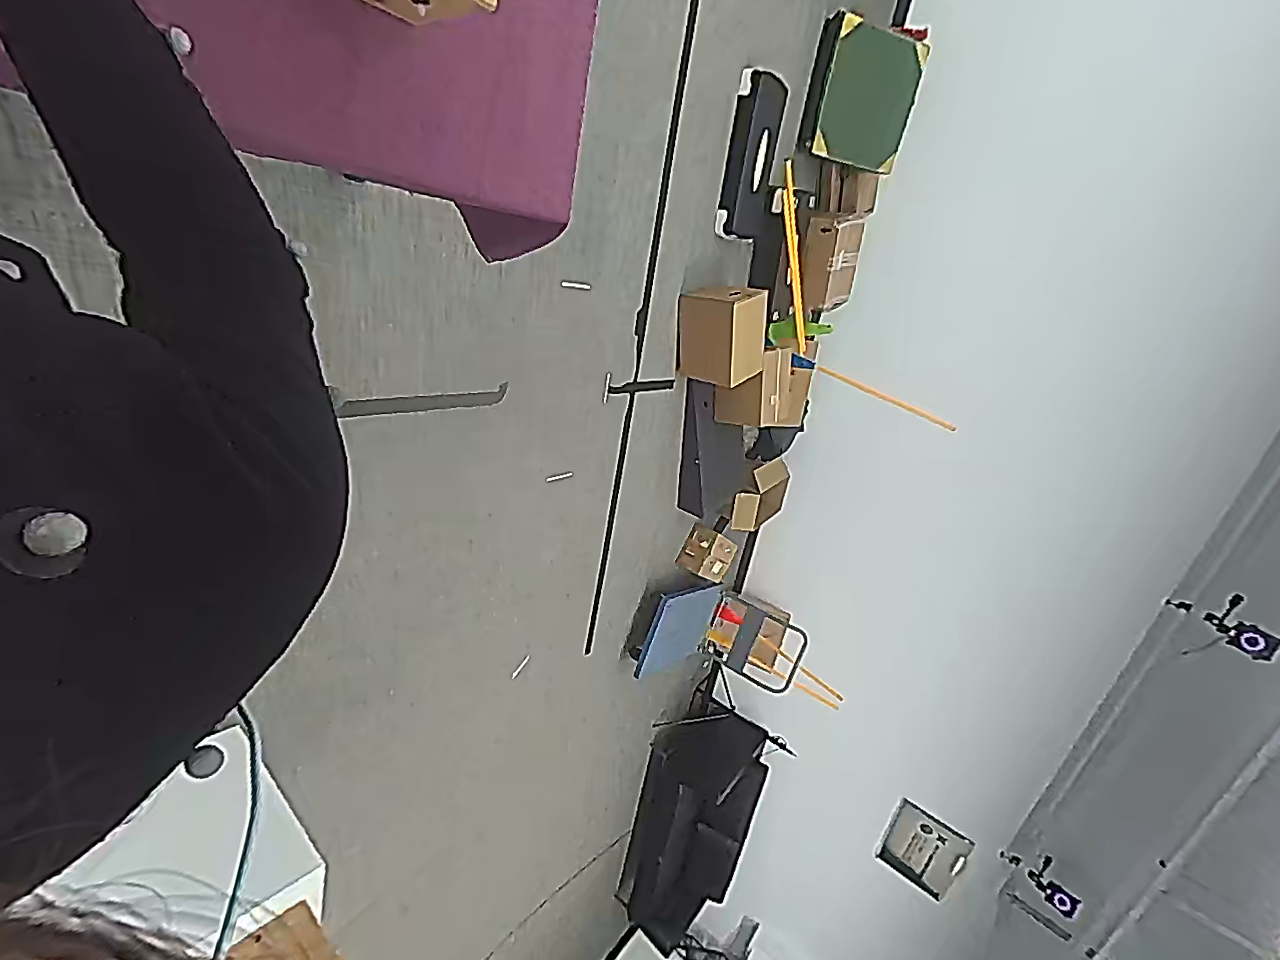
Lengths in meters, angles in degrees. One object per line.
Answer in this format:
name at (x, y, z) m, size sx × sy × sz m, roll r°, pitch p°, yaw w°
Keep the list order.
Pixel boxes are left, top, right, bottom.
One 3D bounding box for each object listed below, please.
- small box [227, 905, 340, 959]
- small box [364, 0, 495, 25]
small box at (-0.793, 1.109, 1.196) m, size 0.168 × 0.176 × 0.179 m, roll -9°, pitch 120°, yaw -54°
small box at (-0.260, -0.608, 0.555) m, size 0.168 × 0.176 × 0.179 m, roll -18°, pitch 125°, yaw -50°
